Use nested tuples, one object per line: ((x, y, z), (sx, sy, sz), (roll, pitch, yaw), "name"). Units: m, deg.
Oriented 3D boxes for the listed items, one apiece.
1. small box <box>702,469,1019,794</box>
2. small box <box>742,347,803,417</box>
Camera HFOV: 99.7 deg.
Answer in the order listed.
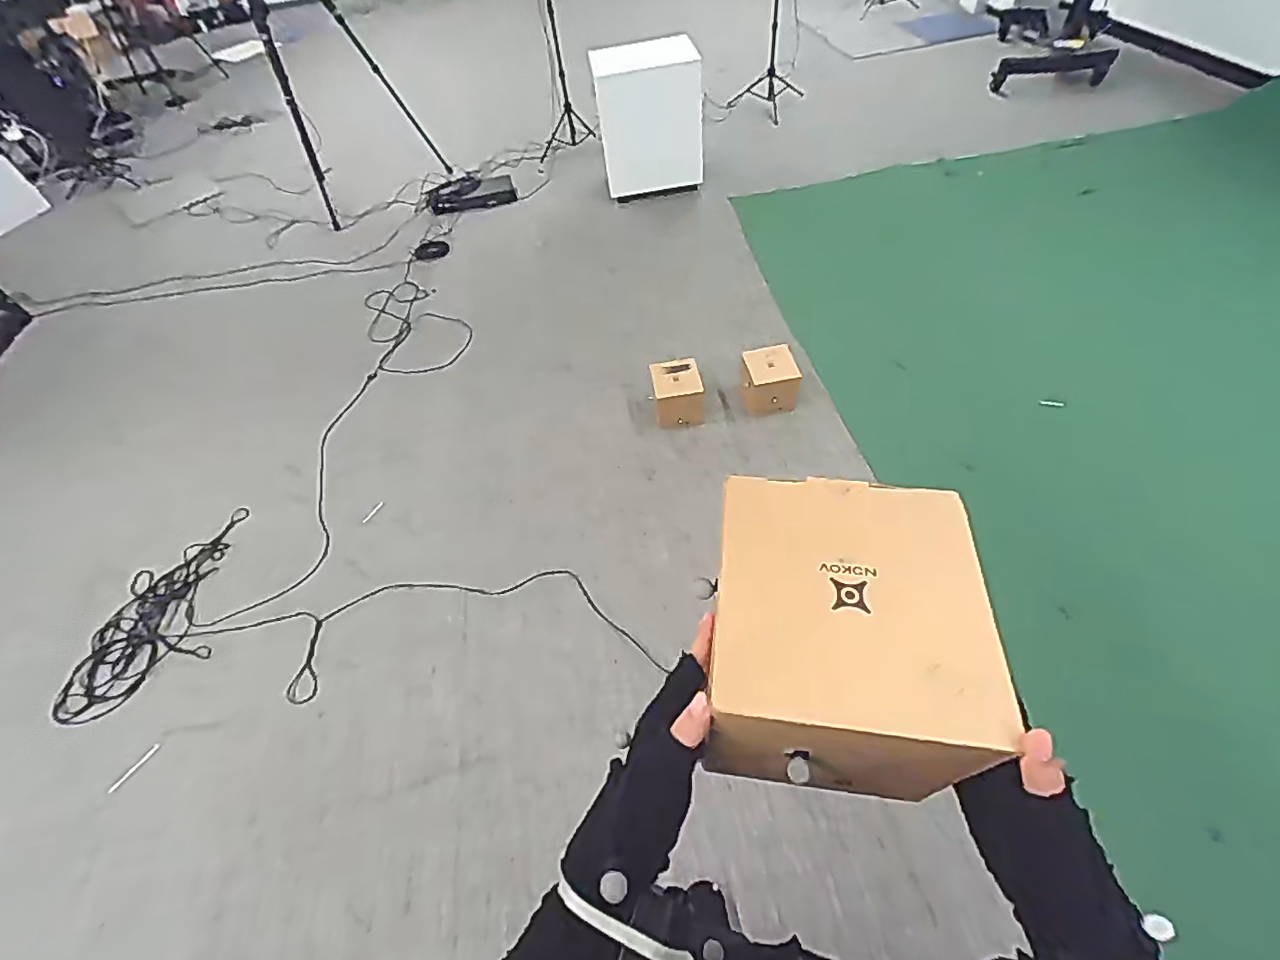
((0.135, 0.115, 0.402), (0.168, 0.176, 0.179), (5, 51, 8), "small box")
((0.468, -0.343, 1.937), (0.168, 0.176, 0.179), (-10, 53, -2), "small box")
